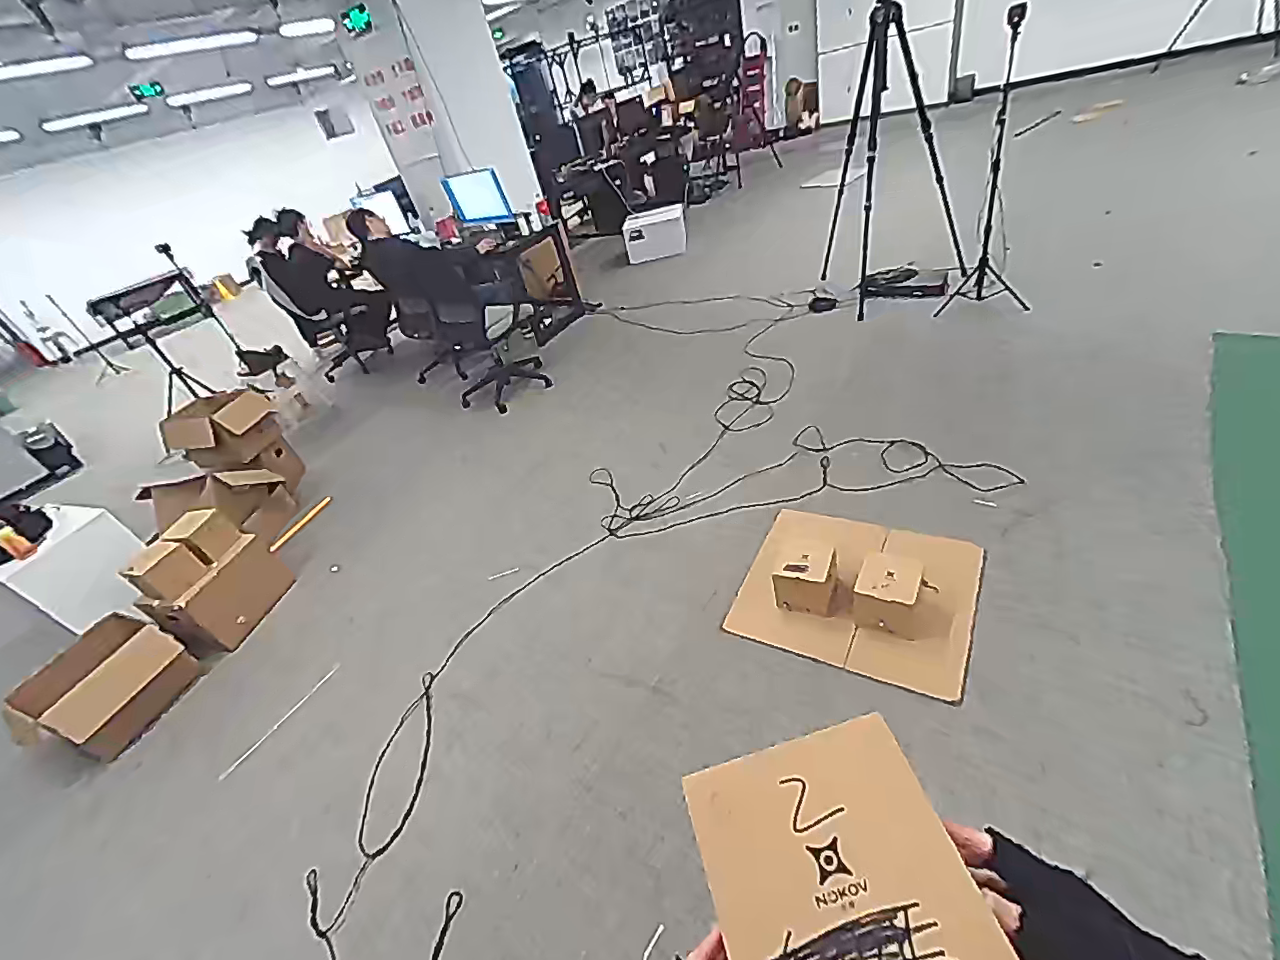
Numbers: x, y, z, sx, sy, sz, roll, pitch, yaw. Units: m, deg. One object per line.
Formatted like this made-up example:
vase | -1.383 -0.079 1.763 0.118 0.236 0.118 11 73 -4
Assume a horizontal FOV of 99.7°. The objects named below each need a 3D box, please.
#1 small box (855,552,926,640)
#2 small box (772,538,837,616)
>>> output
small box | 0.761 0.351 1.643 0.168 0.176 0.179 9 44 33
small box | 0.546 0.318 1.771 0.168 0.176 0.179 6 42 29
